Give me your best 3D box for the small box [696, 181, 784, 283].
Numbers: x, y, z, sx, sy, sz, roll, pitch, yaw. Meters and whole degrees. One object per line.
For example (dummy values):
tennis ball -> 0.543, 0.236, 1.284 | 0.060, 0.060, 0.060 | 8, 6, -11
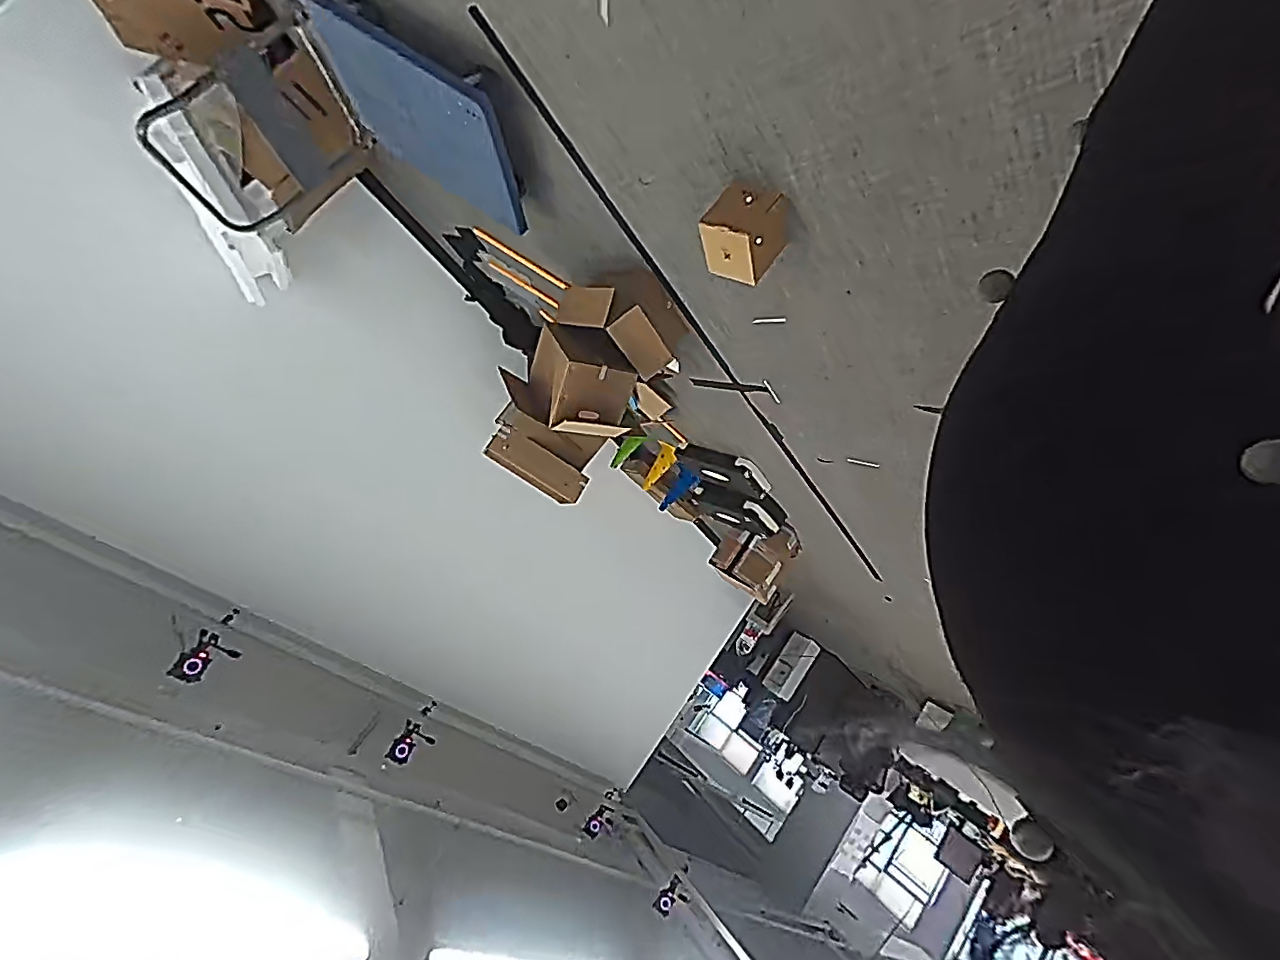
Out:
small box -> 0.286, -0.690, 1.504 | 0.168, 0.176, 0.179 | 31, 166, 30
